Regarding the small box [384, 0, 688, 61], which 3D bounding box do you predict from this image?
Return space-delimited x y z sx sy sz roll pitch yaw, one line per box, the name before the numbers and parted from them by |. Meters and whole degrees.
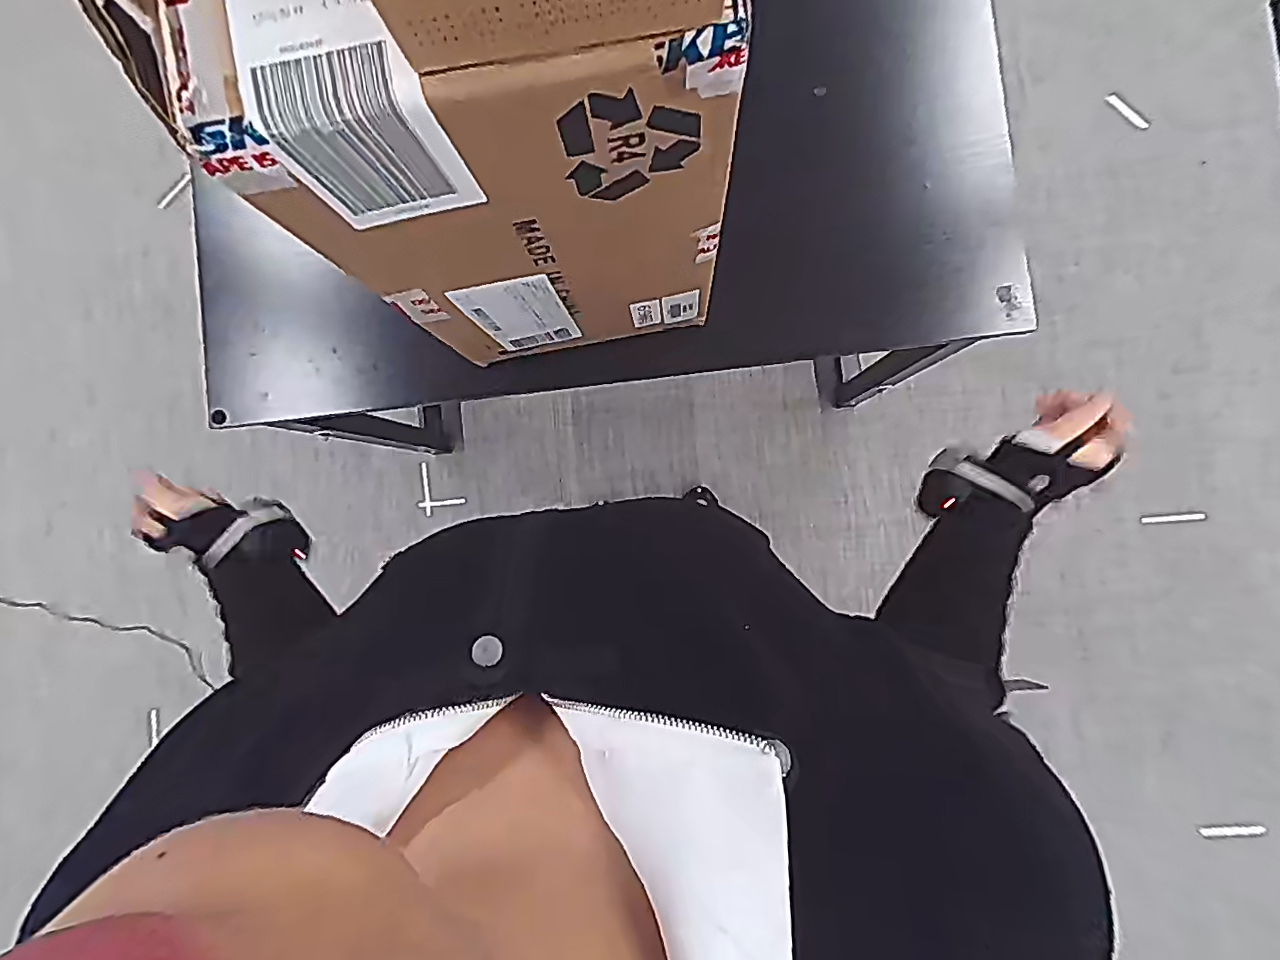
small box | -0.054 -0.325 0.223 0.179 0.176 0.168 -8 87 3
